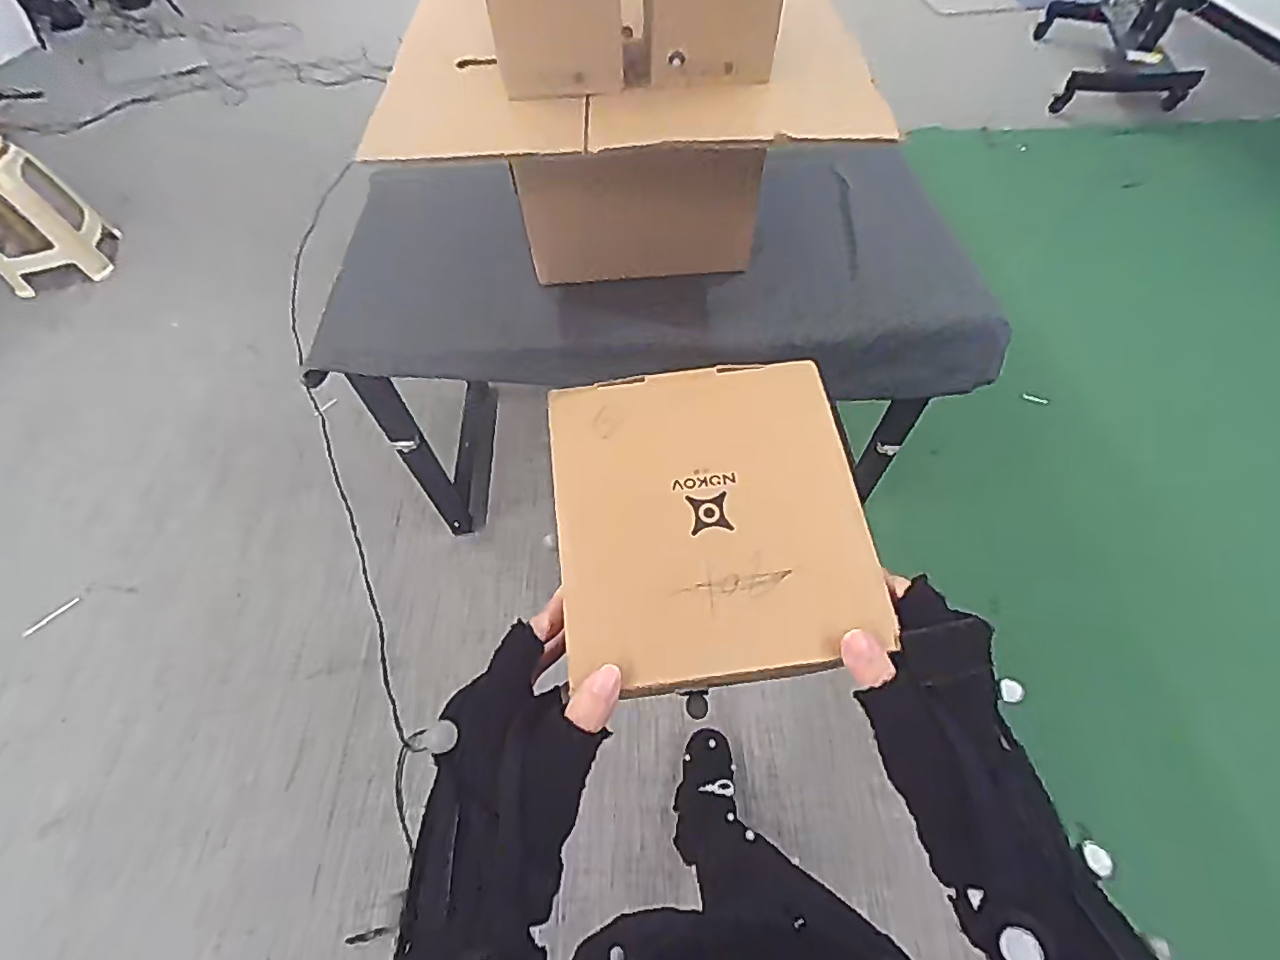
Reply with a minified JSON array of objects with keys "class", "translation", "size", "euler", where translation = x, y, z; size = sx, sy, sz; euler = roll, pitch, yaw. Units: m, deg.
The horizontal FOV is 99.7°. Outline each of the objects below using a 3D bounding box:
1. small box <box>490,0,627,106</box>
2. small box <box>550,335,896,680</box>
[{"class":"small box","translation":[-0.107,-0.639,0.735],"size":[0.168,0.176,0.179],"euler":[-3,57,1]},{"class":"small box","translation":[0.034,0.030,0.366],"size":[0.168,0.176,0.179],"euler":[-7,67,-3]}]
